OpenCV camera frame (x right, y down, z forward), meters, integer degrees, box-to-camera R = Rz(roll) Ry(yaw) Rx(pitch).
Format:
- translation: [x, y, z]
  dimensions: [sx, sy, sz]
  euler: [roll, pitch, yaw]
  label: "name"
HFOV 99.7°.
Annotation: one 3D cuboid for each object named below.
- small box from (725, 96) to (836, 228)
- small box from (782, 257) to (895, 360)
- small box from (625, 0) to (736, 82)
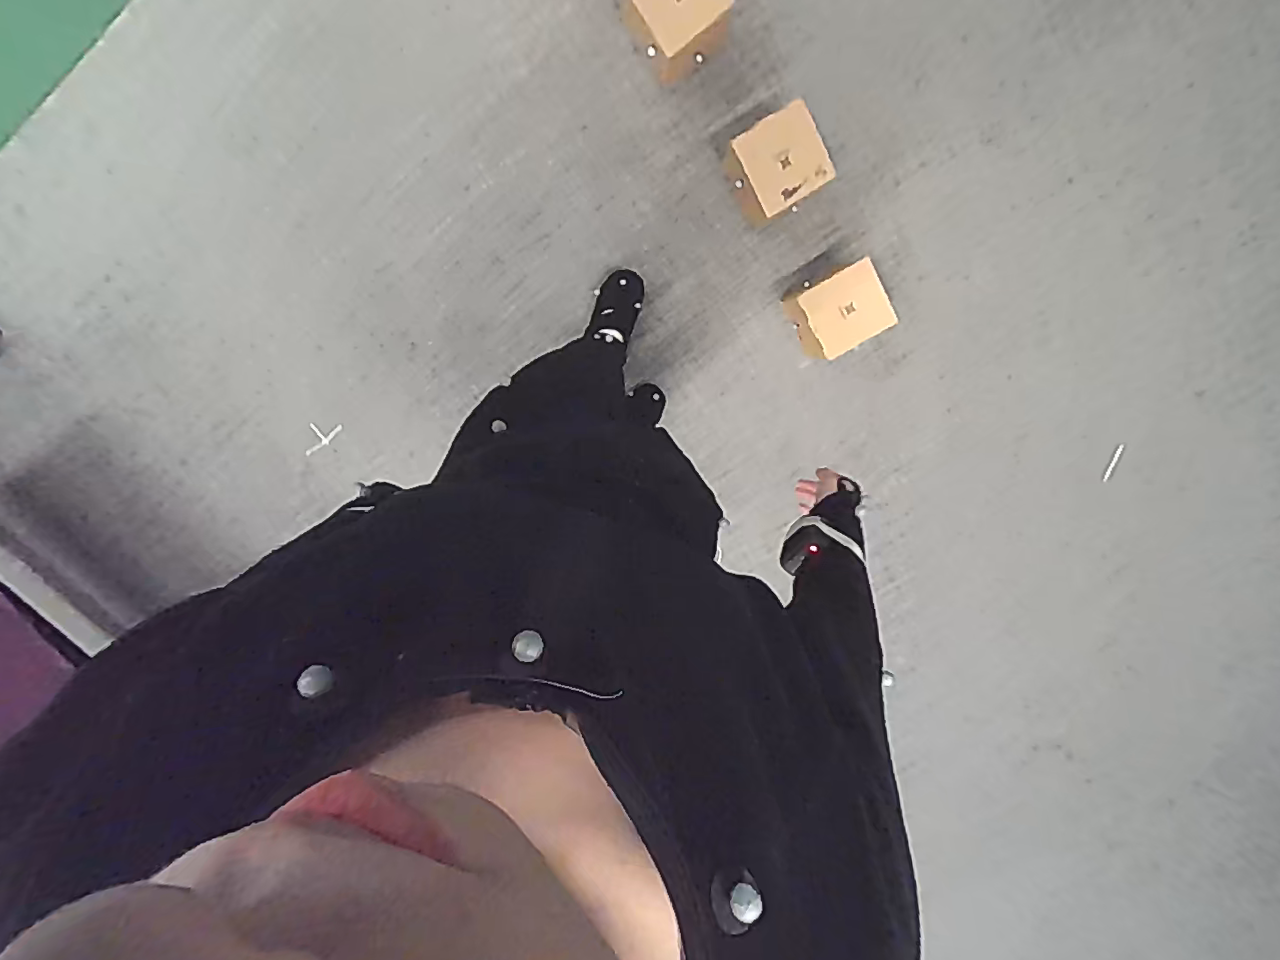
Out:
- translation: [0.306, -0.698, 1.212]
  dimensions: [0.168, 0.176, 0.179]
  euler: [-28, 102, 9]
  label: "small box"
- translation: [0.465, -0.405, 1.289]
  dimensions: [0.179, 0.176, 0.168]
  euler: [-29, 103, 9]
  label: "small box"
- translation: [0.081, -0.989, 1.140]
  dimensions: [0.168, 0.176, 0.179]
  euler: [-34, 102, 9]
  label: "small box"
